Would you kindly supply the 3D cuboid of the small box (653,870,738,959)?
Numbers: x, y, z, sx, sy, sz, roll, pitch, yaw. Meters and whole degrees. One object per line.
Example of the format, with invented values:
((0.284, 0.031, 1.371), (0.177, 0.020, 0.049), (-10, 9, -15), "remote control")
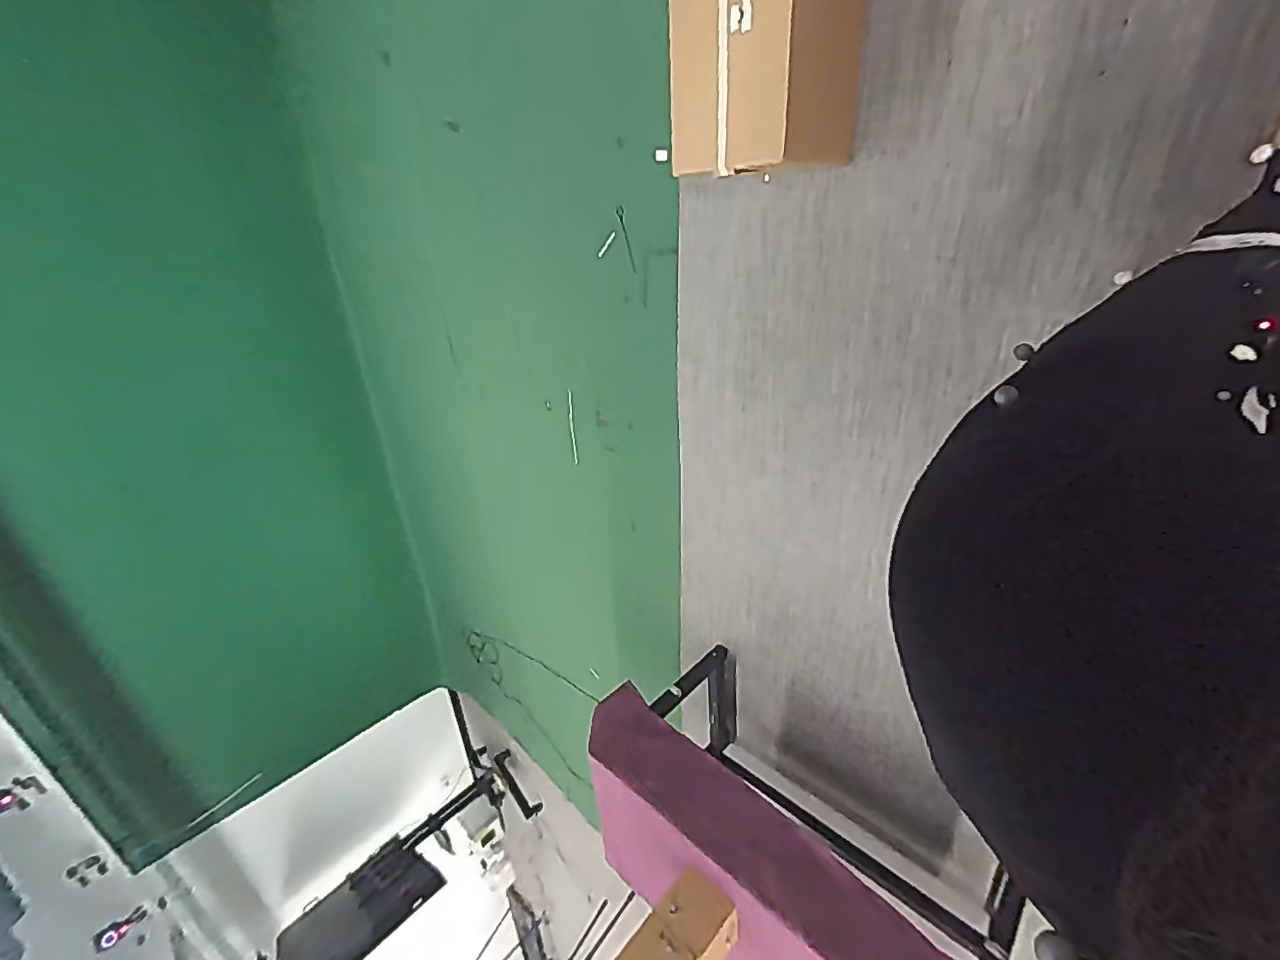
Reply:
((0.159, 1.266, 1.543), (0.179, 0.176, 0.168), (18, 124, 41), "small box")

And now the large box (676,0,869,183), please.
((0.299, -0.930, 1.246), (0.320, 0.320, 0.408), (21, 123, 41), "large box")

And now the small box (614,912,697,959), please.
((0.046, 1.325, 1.441), (0.168, 0.176, 0.179), (17, 122, 41), "small box")
